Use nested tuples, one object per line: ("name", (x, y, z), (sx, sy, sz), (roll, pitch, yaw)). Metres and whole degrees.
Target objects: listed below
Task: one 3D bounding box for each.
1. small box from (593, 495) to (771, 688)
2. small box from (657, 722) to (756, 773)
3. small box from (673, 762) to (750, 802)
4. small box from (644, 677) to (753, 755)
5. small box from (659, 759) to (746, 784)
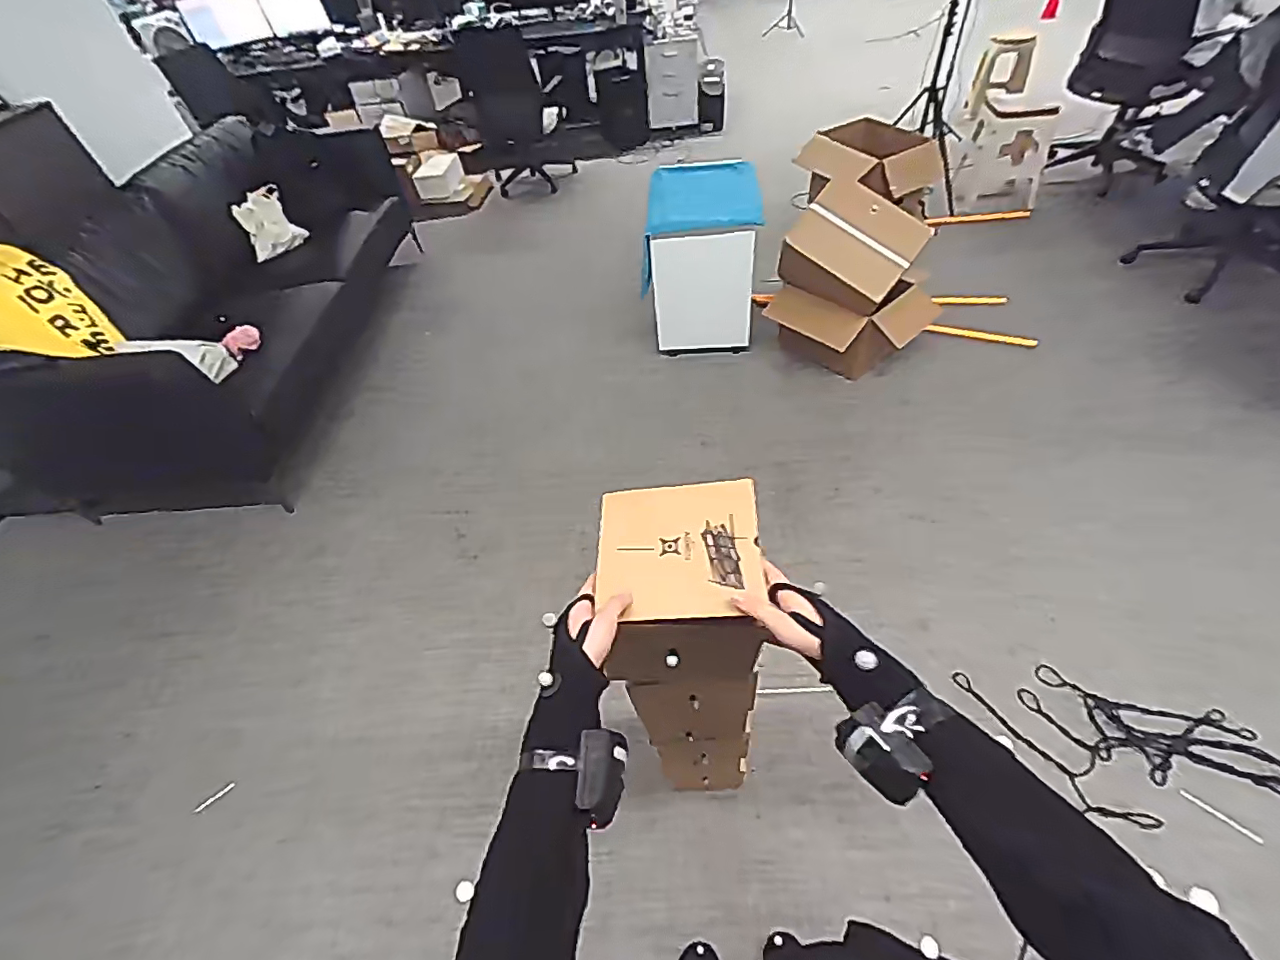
("small box", (0.047, 0.134, 0.635), (0.179, 0.176, 0.168), (-1, 50, 4))
("small box", (0.120, 0.456, 1.051), (0.179, 0.176, 0.168), (-7, 48, 3))
("small box", (0.166, 0.662, 1.301), (0.179, 0.176, 0.168), (-5, 48, 4))
("small box", (0.095, 0.352, 0.929), (0.168, 0.176, 0.179), (-7, 49, 4))
("small box", (0.136, 0.554, 1.181), (0.179, 0.176, 0.168), (-5, 49, 5))
